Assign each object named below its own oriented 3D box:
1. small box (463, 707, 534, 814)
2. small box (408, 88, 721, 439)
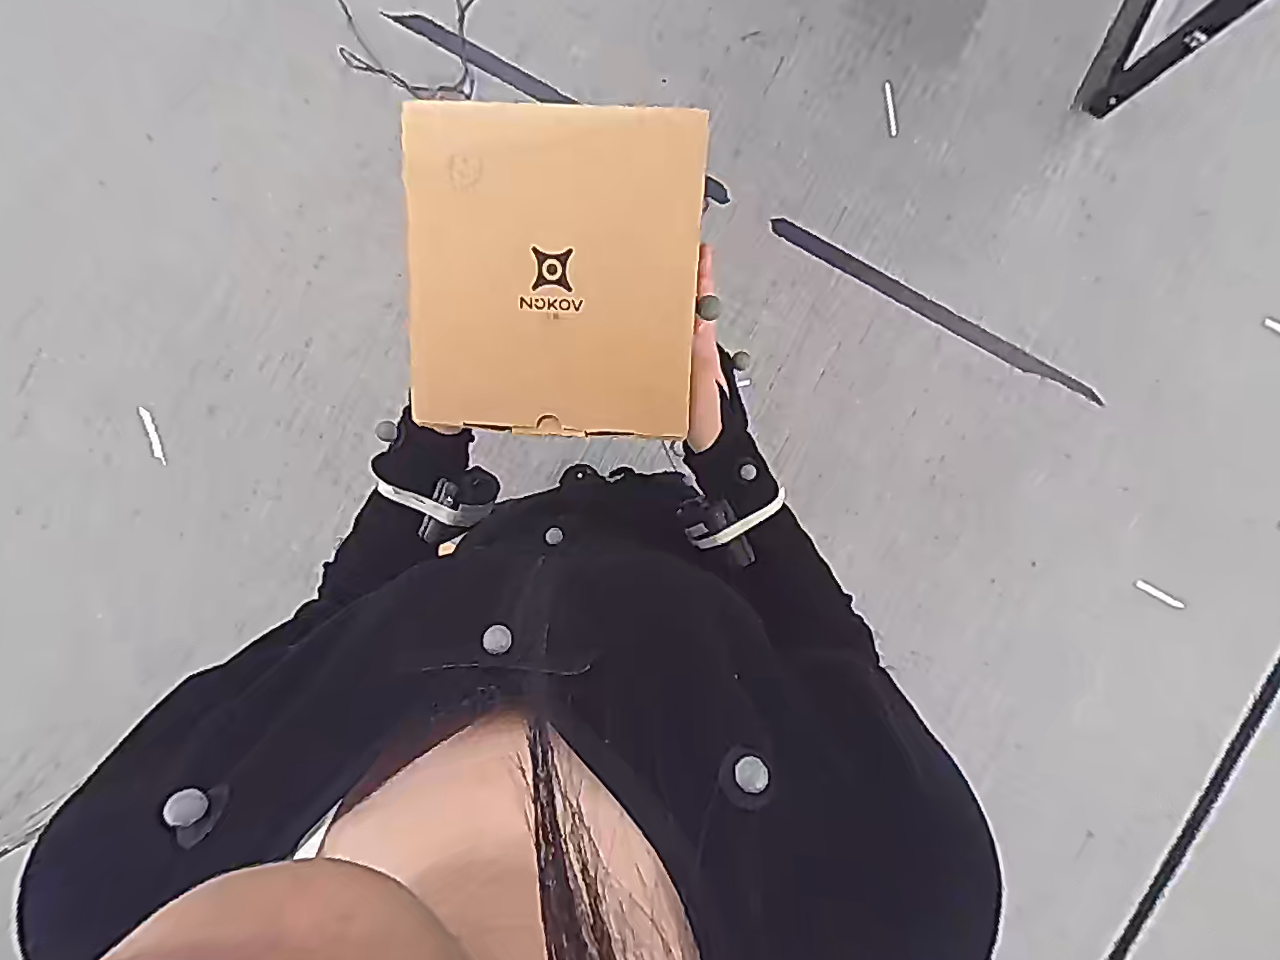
[{"bbox_3d":[-0.395,0.732,1.430,0.179,0.176,0.168,21,92,-3],"label":"small box"},{"bbox_3d":[-0.042,-0.130,0.374,0.168,0.176,0.179,4,103,2],"label":"small box"}]
